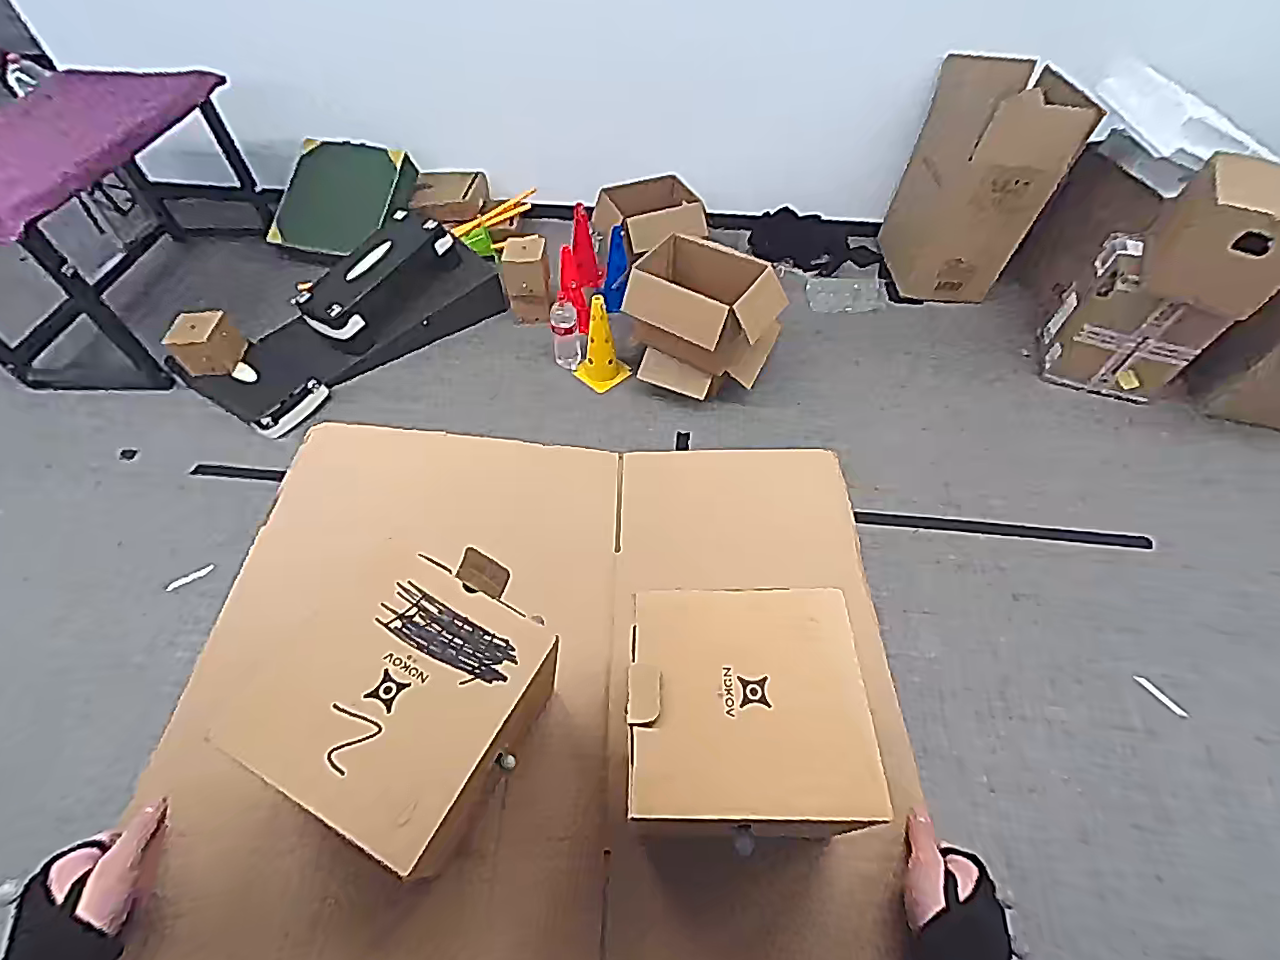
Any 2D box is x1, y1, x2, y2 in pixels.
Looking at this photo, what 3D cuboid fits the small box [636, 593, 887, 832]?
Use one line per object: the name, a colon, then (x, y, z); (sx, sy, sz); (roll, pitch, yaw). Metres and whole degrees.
small box: (0.089, 0.210, 0.482); (0.179, 0.176, 0.168); (-2, 54, 3)
